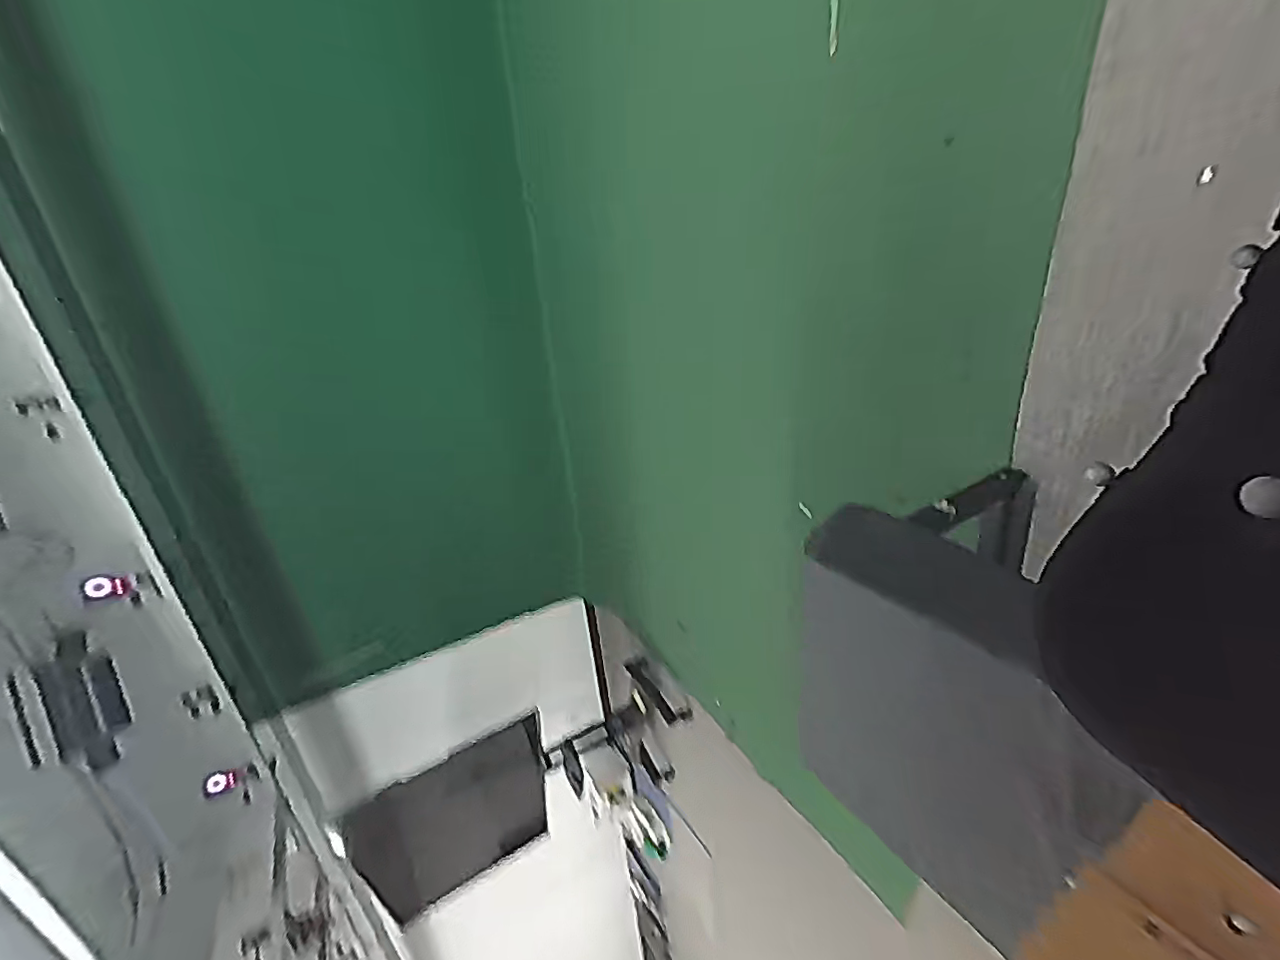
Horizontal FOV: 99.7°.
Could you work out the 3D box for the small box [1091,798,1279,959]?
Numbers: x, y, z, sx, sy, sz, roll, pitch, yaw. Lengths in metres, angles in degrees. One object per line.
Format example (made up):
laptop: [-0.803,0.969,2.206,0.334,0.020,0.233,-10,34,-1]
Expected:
small box: [0.630,0.512,0.608,0.179,0.176,0.168,34,137,53]
